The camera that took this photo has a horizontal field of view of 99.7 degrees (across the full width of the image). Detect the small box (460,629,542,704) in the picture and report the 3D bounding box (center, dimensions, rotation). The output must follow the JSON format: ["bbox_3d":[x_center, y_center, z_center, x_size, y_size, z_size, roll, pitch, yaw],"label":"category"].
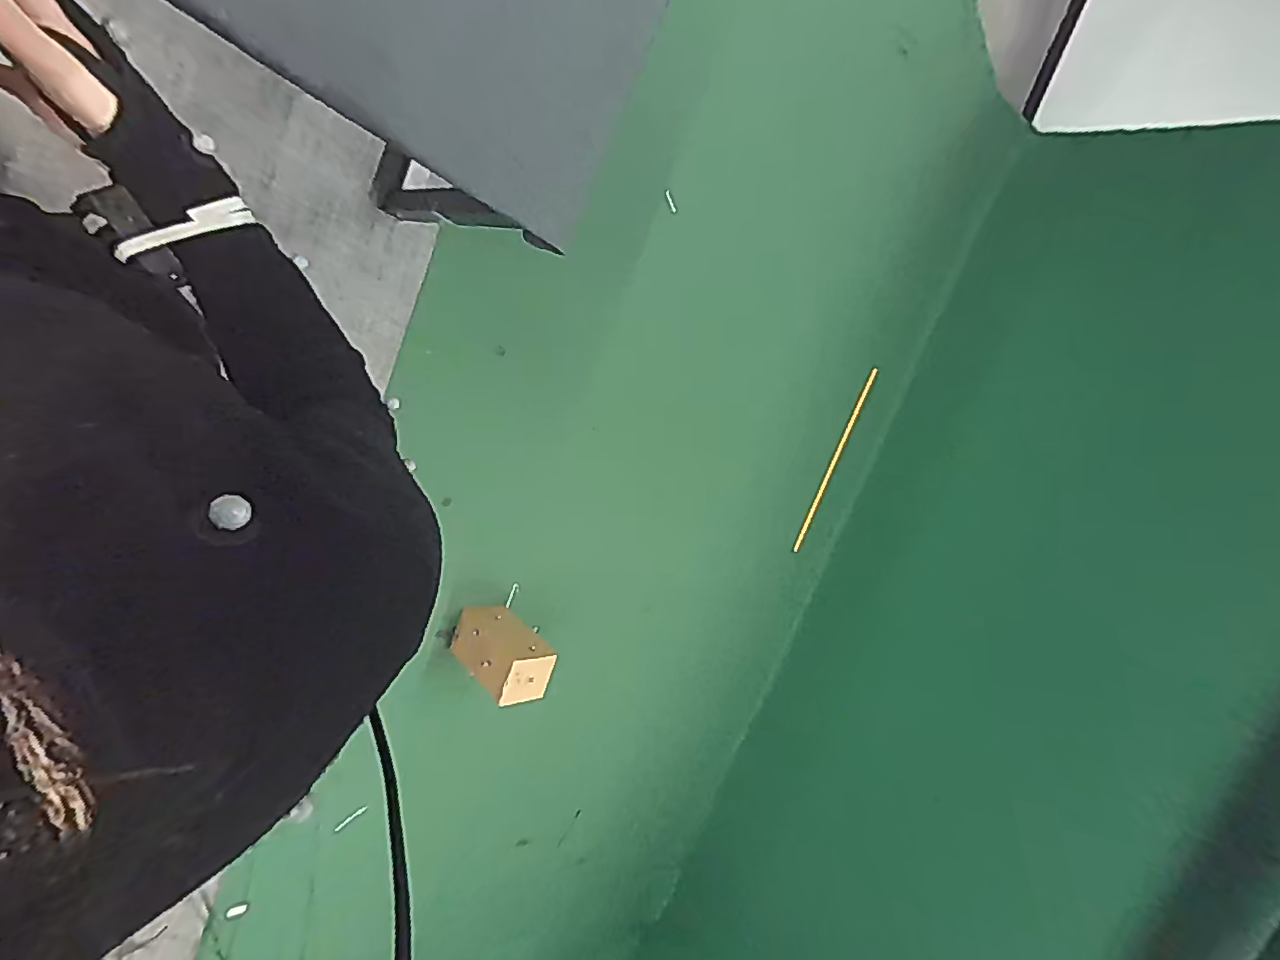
[{"bbox_3d":[-0.462,0.607,1.788,0.179,0.176,0.168,11,102,-49],"label":"small box"}]
